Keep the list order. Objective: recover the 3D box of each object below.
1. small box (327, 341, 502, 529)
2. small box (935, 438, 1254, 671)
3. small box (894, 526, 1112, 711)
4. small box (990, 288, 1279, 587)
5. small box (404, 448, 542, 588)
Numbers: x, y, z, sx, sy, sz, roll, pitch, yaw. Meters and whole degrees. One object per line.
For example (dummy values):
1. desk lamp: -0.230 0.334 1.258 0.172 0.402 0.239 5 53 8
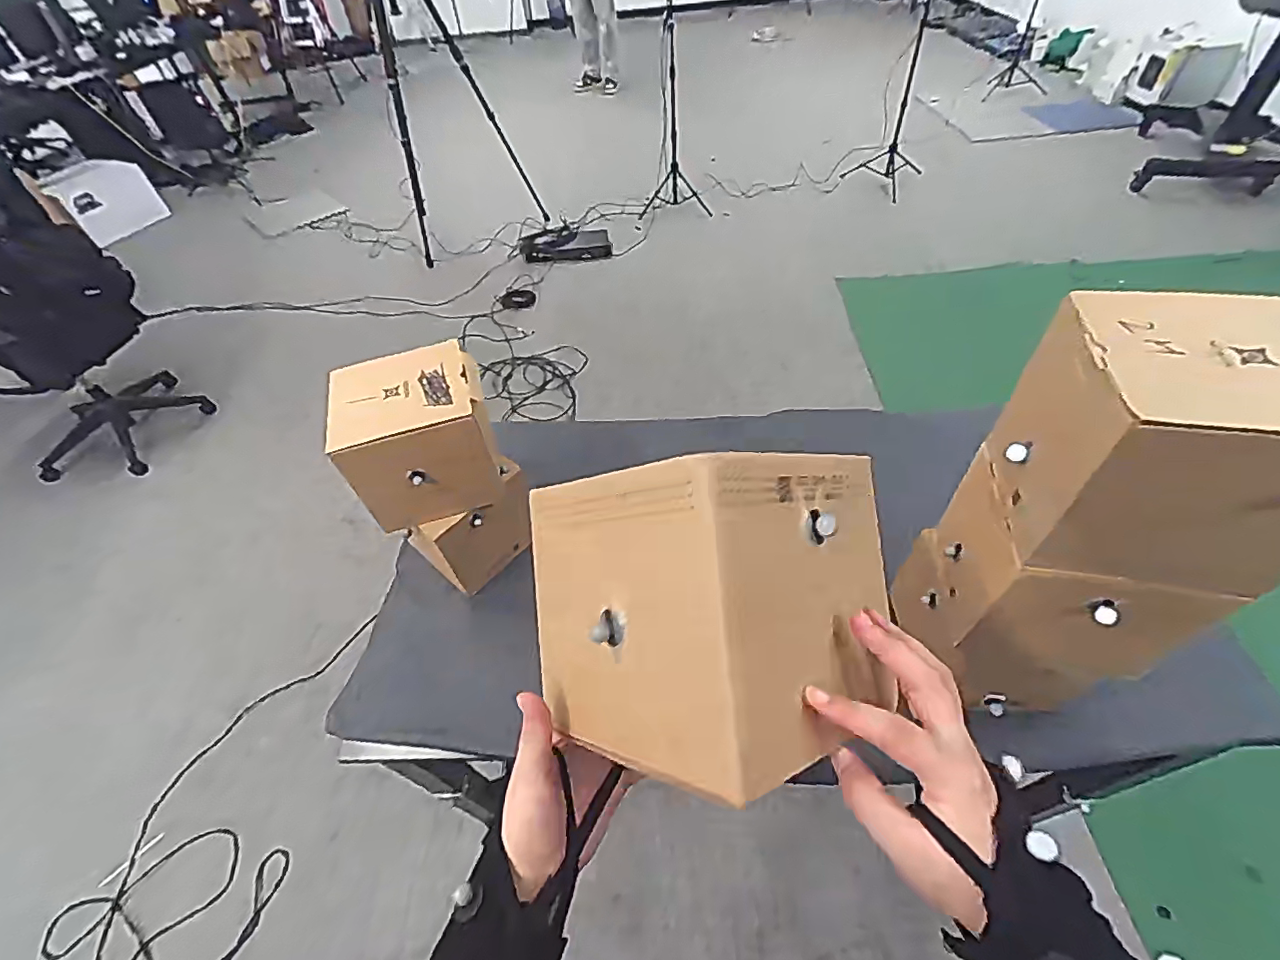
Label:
1. small box: -0.300 -0.060 0.750 0.179 0.176 0.168 -17 51 -8
2. small box: 0.431 0.079 0.557 0.179 0.176 0.168 5 49 13
3. small box: 0.445 0.175 0.687 0.168 0.176 0.179 -3 49 5
4. small box: 0.420 -0.033 0.435 0.179 0.176 0.168 7 49 14
5. small box: -0.286 0.043 0.878 0.179 0.176 0.168 31 59 28
